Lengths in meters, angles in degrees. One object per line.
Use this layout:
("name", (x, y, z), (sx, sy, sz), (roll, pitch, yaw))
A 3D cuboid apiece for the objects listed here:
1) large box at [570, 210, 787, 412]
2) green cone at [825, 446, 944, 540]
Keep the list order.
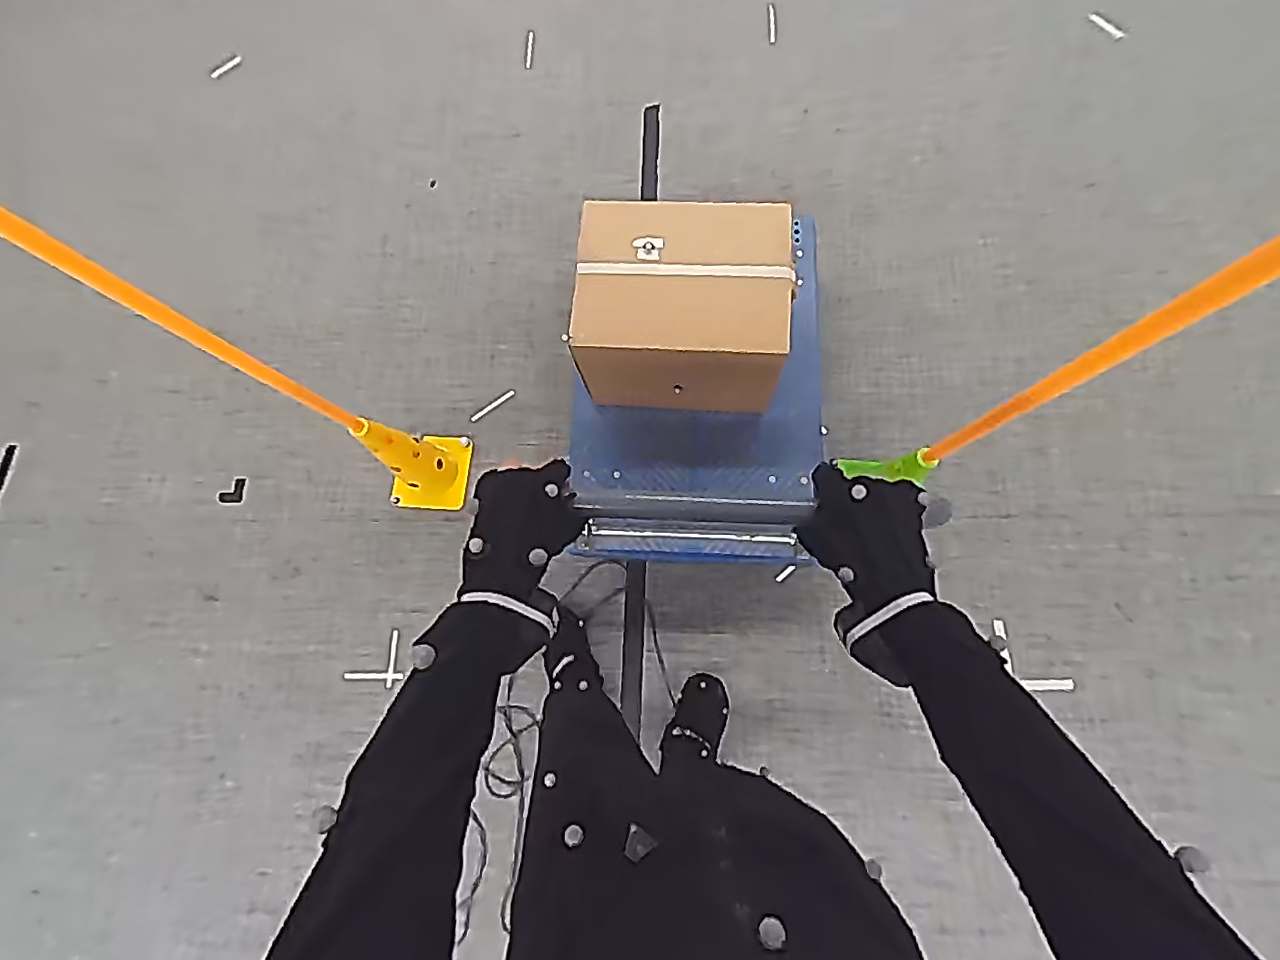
("large box", (0.090, -0.343, 1.166), (0.408, 0.320, 0.320), (3, 77, 6))
("green cone", (0.556, 0.003, 1.186), (0.202, 0.368, 0.200), (4, 76, 4))
